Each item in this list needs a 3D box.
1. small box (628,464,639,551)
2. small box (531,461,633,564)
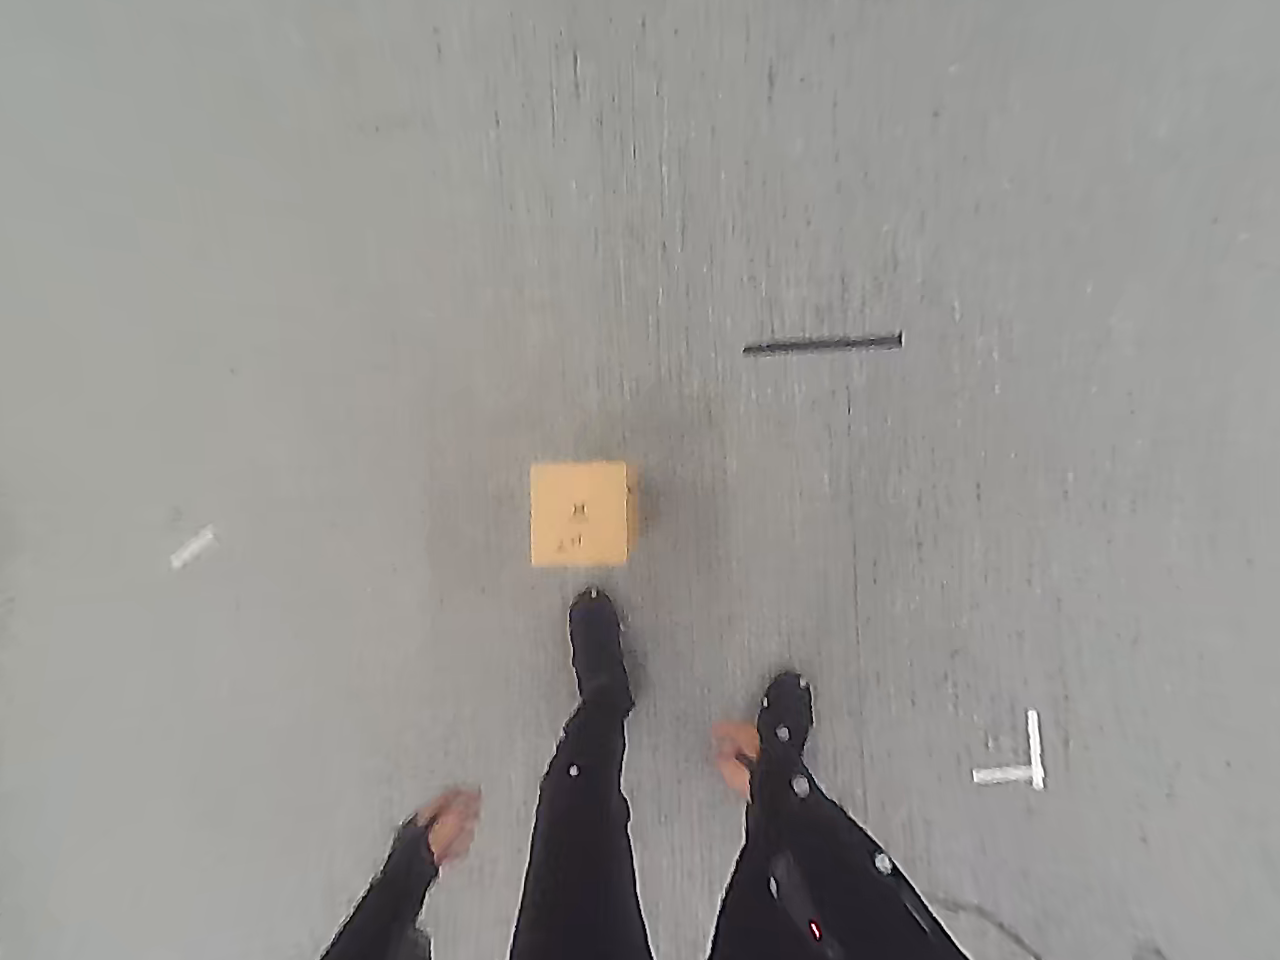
[{"bbox_3d":[-0.088,0.057,1.164,0.168,0.176,0.179,1,89,3],"label":"small box"},{"bbox_3d":[-0.102,0.057,1.000,0.168,0.176,0.179,0,89,3],"label":"small box"}]
